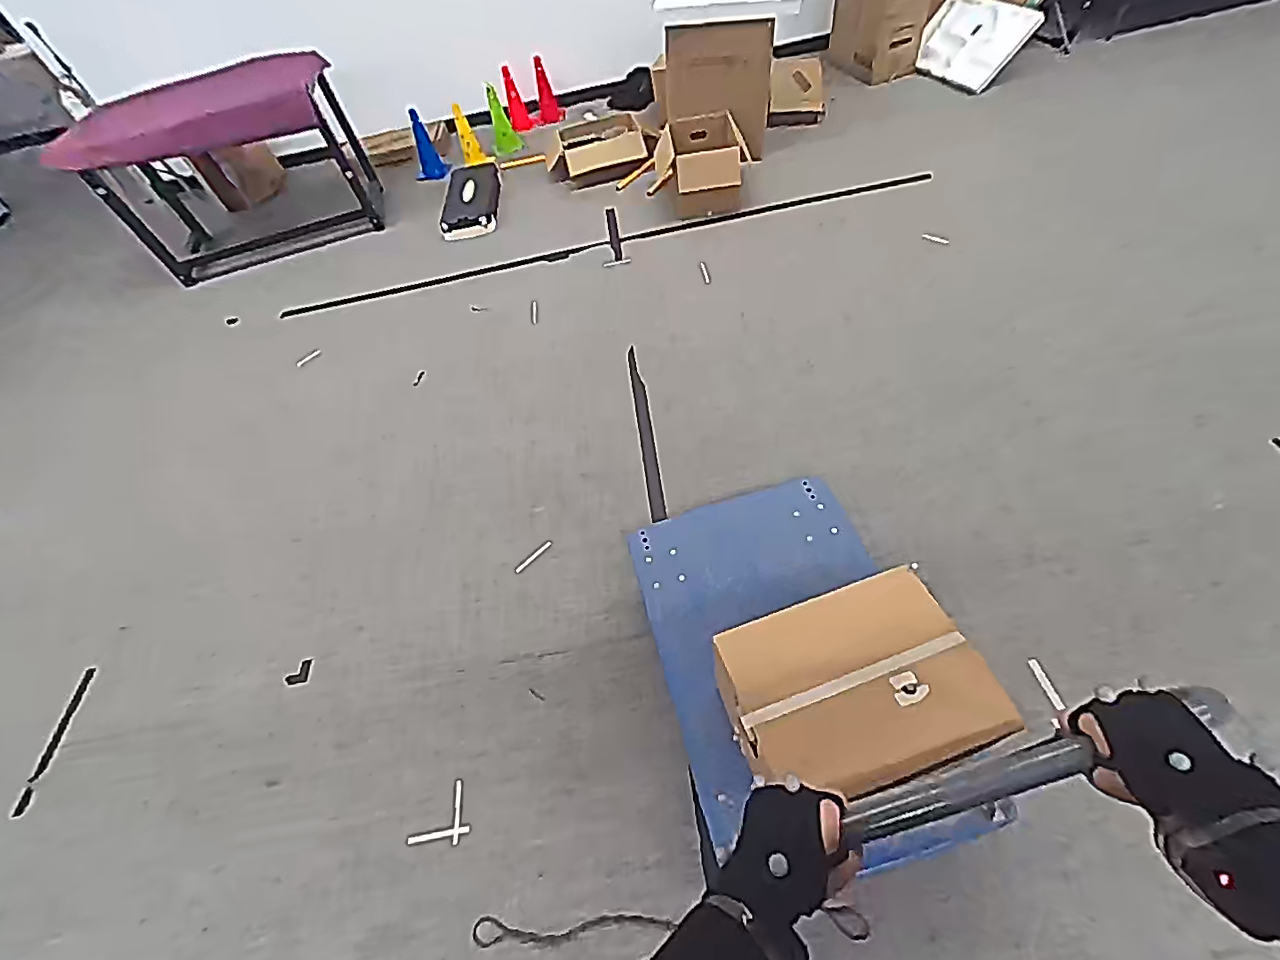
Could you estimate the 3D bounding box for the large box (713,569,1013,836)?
[{"bbox_3d":[0.388,0.437,1.055,0.408,0.320,0.320,-19,53,-6],"label":"large box"}]
